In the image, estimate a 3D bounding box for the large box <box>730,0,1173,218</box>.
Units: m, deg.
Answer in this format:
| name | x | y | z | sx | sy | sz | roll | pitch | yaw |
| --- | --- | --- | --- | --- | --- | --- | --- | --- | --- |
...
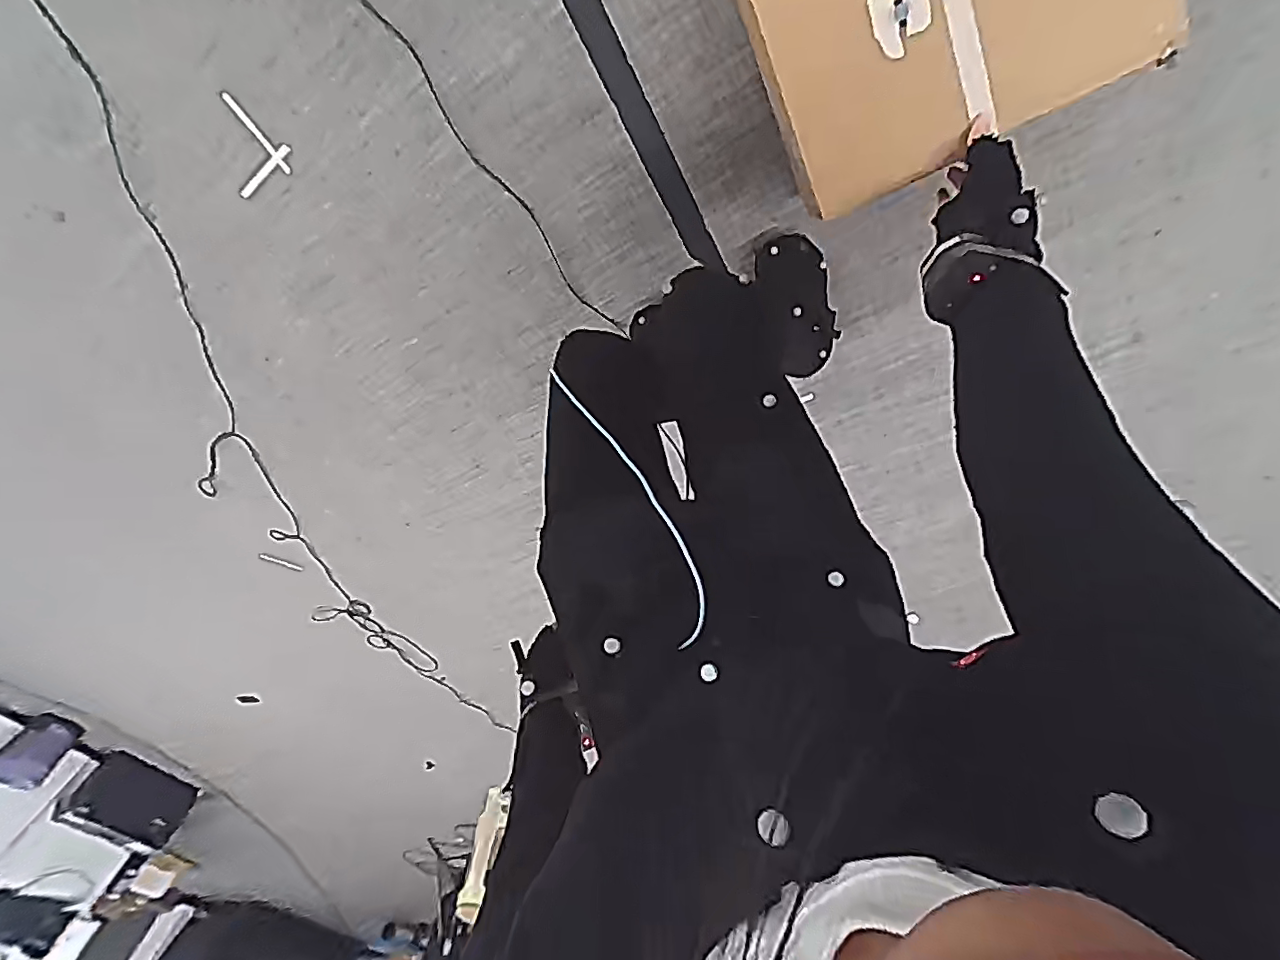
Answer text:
| name | x | y | z | sx | sy | sz | roll | pitch | yaw |
| --- | --- | --- | --- | --- | --- | --- | --- | --- | --- |
| large box | 0.276 | -0.559 | 0.597 | 0.320 | 0.320 | 0.408 | -19 | 110 | 23 |
